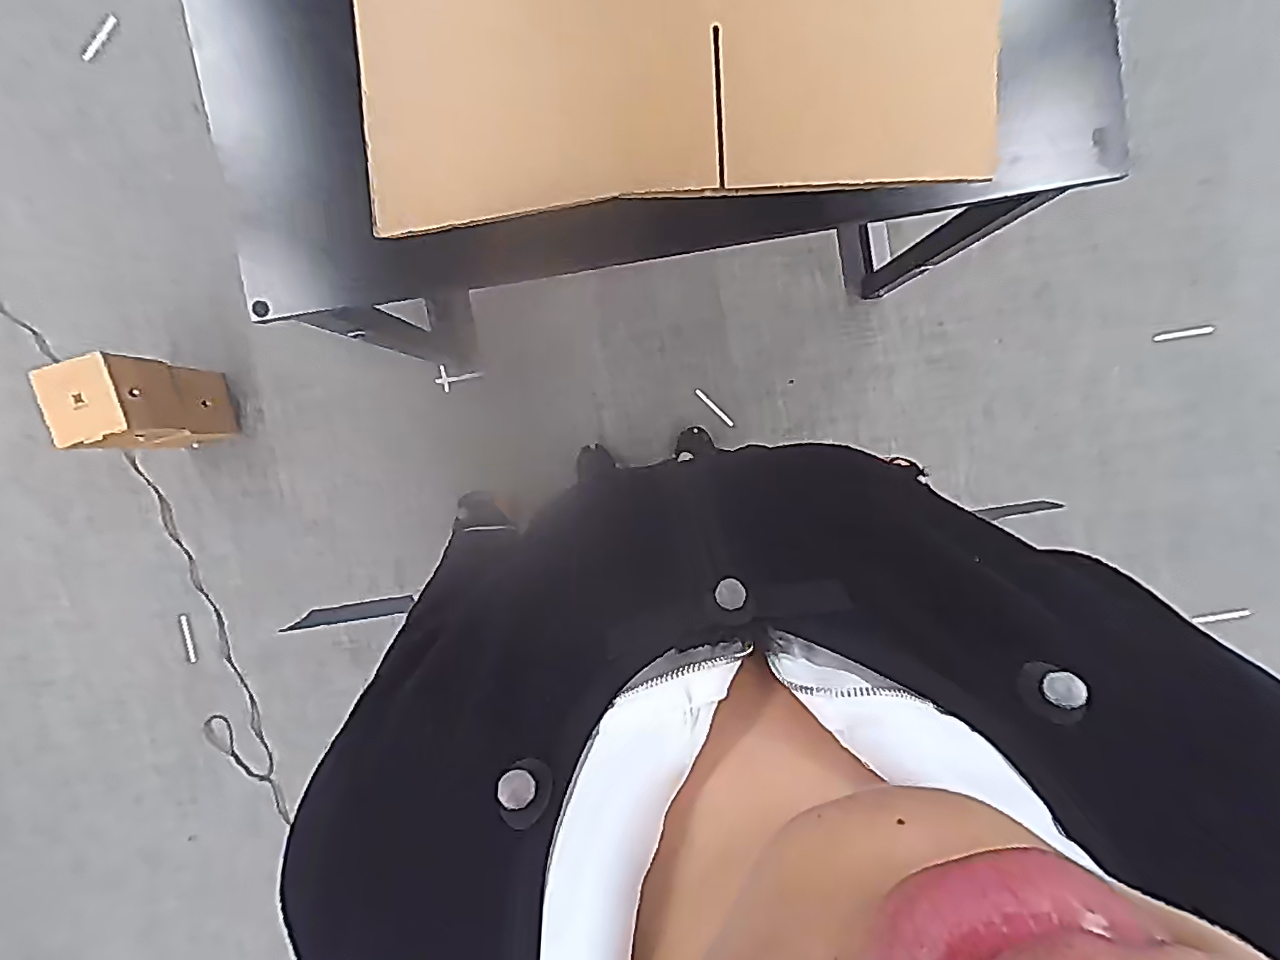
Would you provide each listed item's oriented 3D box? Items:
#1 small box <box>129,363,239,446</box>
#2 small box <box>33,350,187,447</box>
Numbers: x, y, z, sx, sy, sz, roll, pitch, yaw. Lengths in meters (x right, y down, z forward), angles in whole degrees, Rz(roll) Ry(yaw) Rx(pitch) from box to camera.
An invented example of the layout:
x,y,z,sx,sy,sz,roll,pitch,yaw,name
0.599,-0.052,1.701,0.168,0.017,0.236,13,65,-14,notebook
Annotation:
x,y,z,sx,sy,sz,roll,pitch,yaw,name
-1.197,-0.191,1.404,0.168,0.176,0.179,-13,96,2,small box
-1.200,-0.182,1.242,0.168,0.176,0.179,-16,93,1,small box
